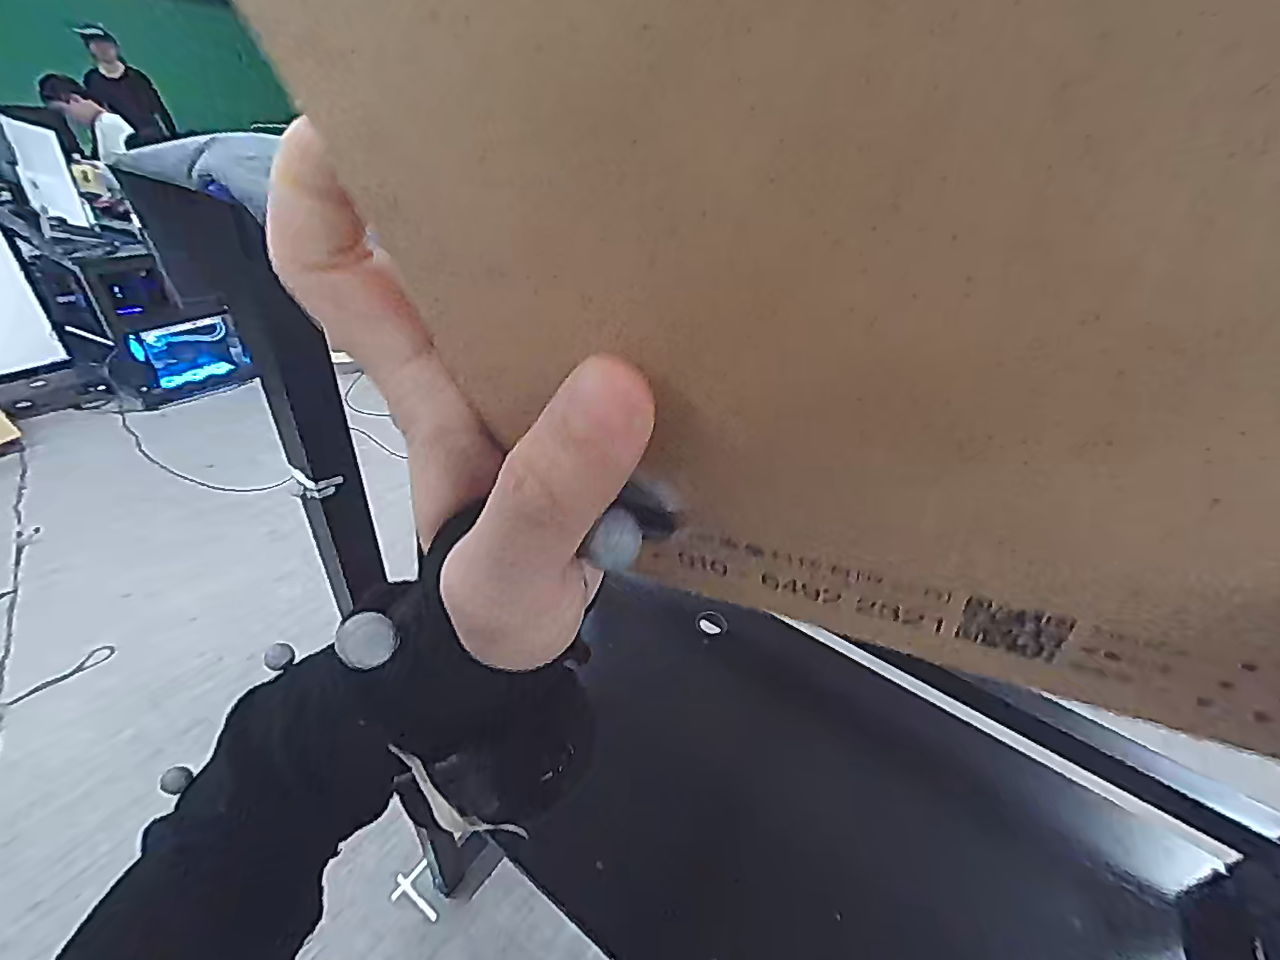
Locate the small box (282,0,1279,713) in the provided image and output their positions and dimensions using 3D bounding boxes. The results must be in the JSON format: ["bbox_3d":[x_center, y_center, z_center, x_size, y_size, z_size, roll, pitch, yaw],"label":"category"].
[{"bbox_3d":[0.065,-0.086,0.103,0.168,0.176,0.179,11,52,27],"label":"small box"}]
